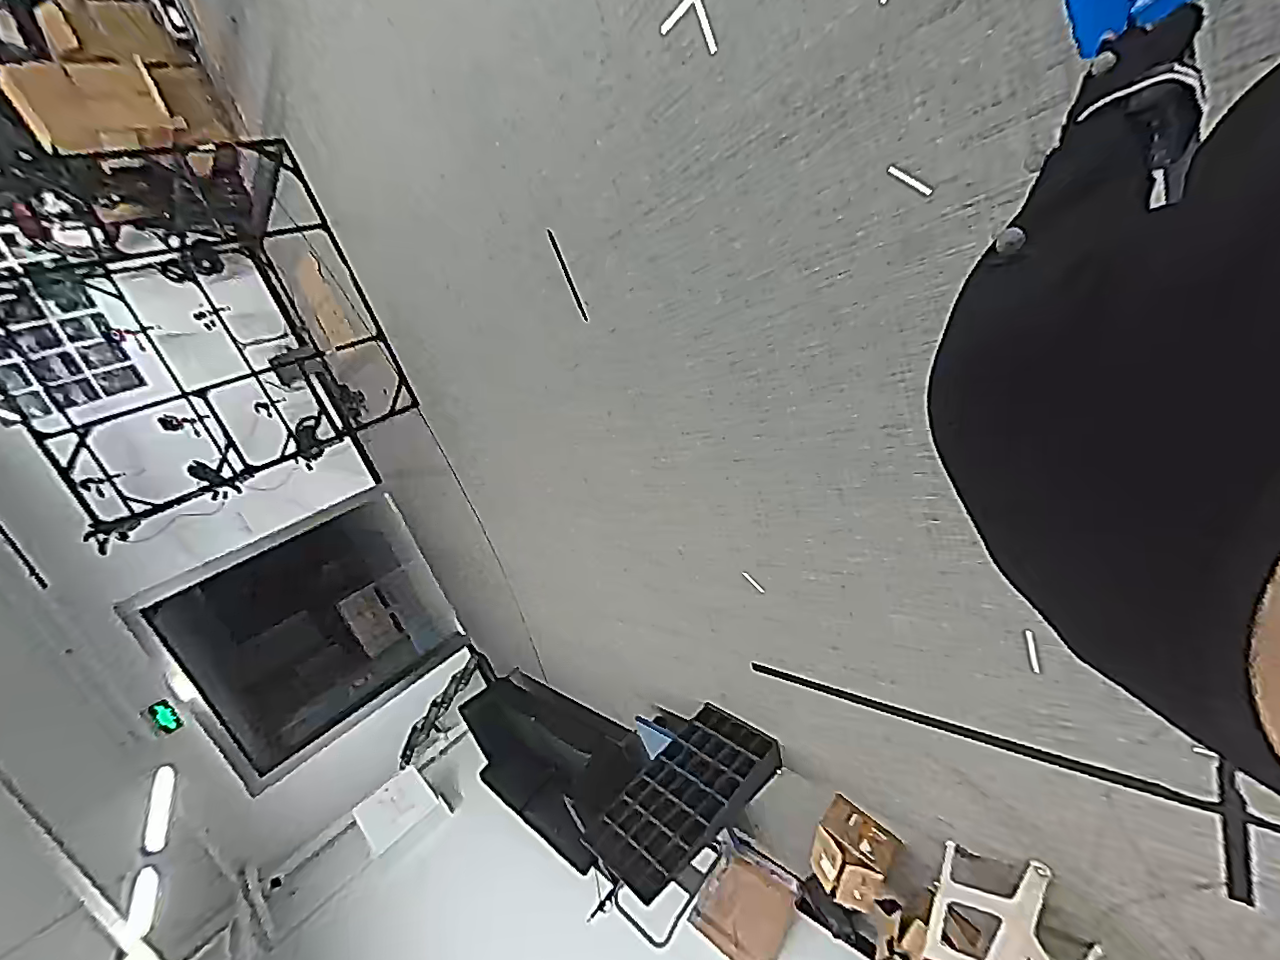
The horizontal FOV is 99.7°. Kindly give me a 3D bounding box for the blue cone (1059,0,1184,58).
[{"bbox_3d":[0.700,-0.787,0.816,0.192,0.380,0.193,-7,110,53],"label":"blue cone"}]
